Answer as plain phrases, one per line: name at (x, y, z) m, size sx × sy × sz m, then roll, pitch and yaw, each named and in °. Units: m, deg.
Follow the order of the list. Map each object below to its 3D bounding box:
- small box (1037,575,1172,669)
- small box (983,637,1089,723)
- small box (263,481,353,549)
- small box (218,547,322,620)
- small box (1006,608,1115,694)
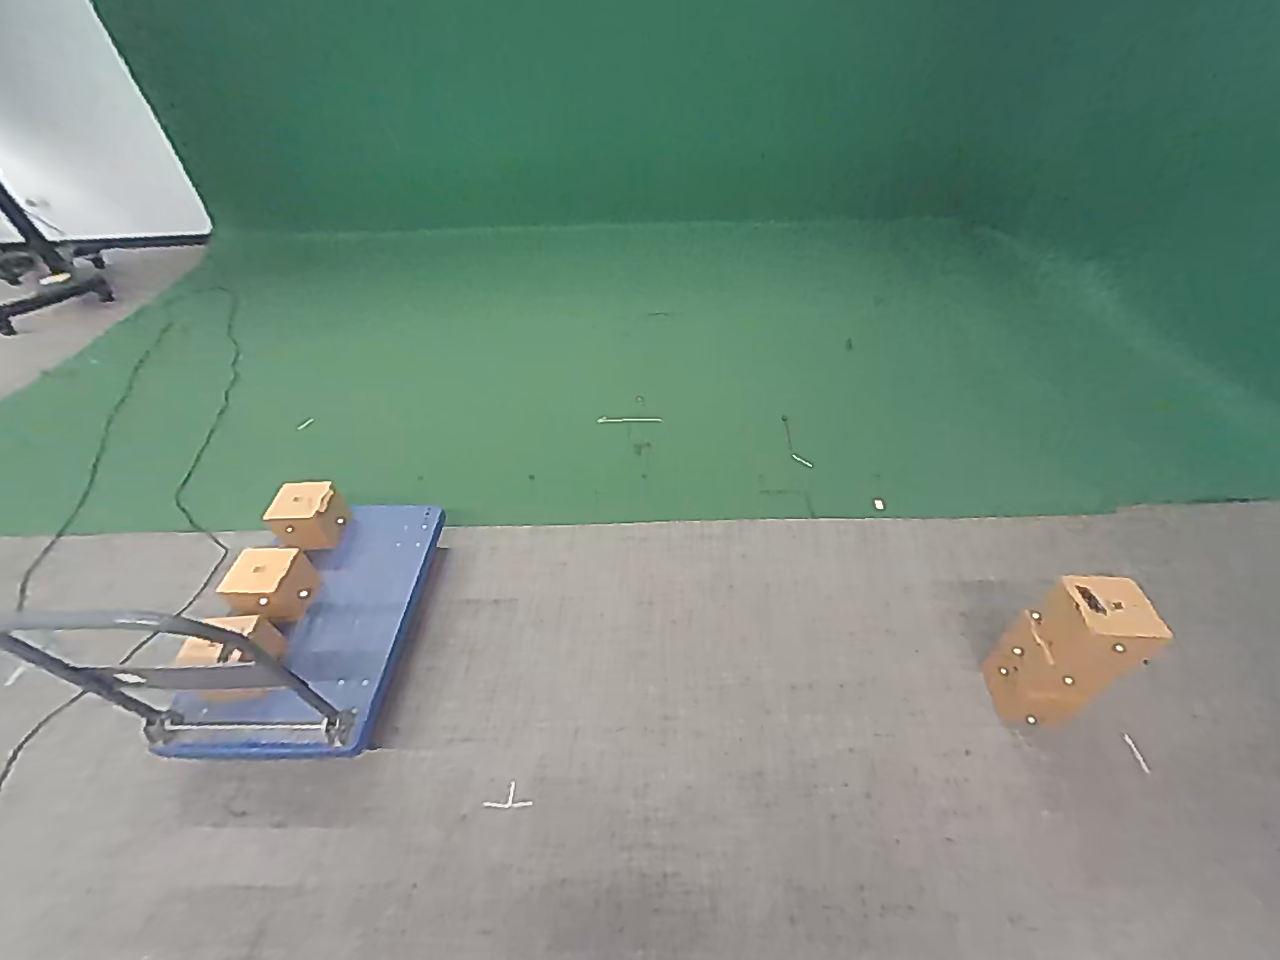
small box at (1.130, 0.354, 1.340) m, size 0.179 × 0.176 × 0.168 m, roll 1°, pitch 45°, yaw 4°
small box at (1.139, 0.583, 1.575) m, size 0.168 × 0.176 × 0.179 m, roll 2°, pitch 45°, yaw 6°
small box at (-1.142, 0.123, 1.874) m, size 0.179 × 0.176 × 0.168 m, roll 4°, pitch 49°, yaw 5°
small box at (-1.142, 0.324, 1.684) m, size 0.179 × 0.176 × 0.168 m, roll 0°, pitch 45°, yaw 1°
small box at (1.129, 0.464, 1.464) m, size 0.179 × 0.176 × 0.168 m, roll 1°, pitch 45°, yaw 6°
